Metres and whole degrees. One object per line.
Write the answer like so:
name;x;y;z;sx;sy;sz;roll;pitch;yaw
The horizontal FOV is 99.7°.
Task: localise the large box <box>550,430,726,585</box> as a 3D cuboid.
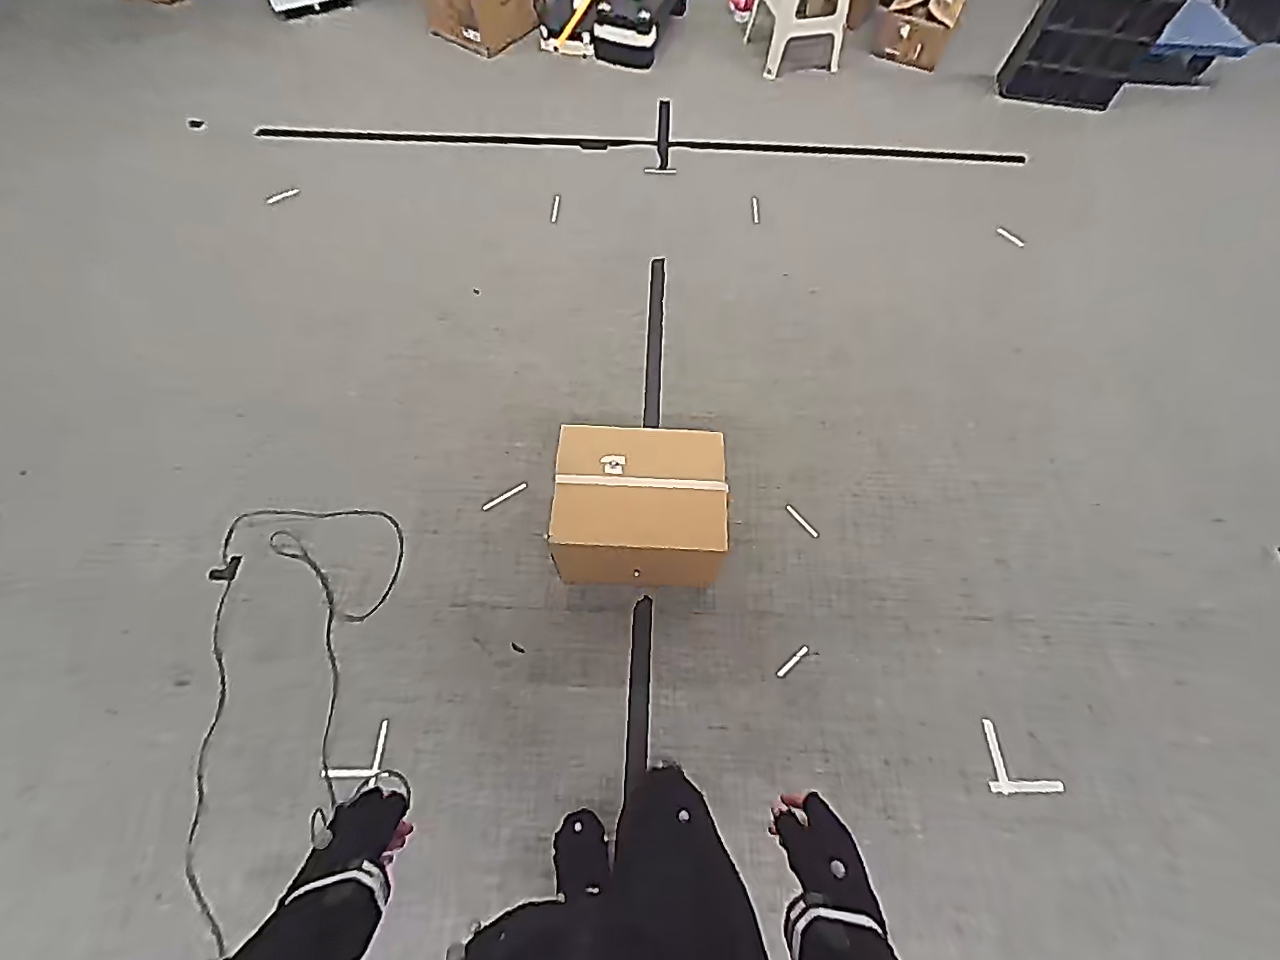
large box;-0.001;0.083;1.409;0.408;0.320;0.320;3;63;0
